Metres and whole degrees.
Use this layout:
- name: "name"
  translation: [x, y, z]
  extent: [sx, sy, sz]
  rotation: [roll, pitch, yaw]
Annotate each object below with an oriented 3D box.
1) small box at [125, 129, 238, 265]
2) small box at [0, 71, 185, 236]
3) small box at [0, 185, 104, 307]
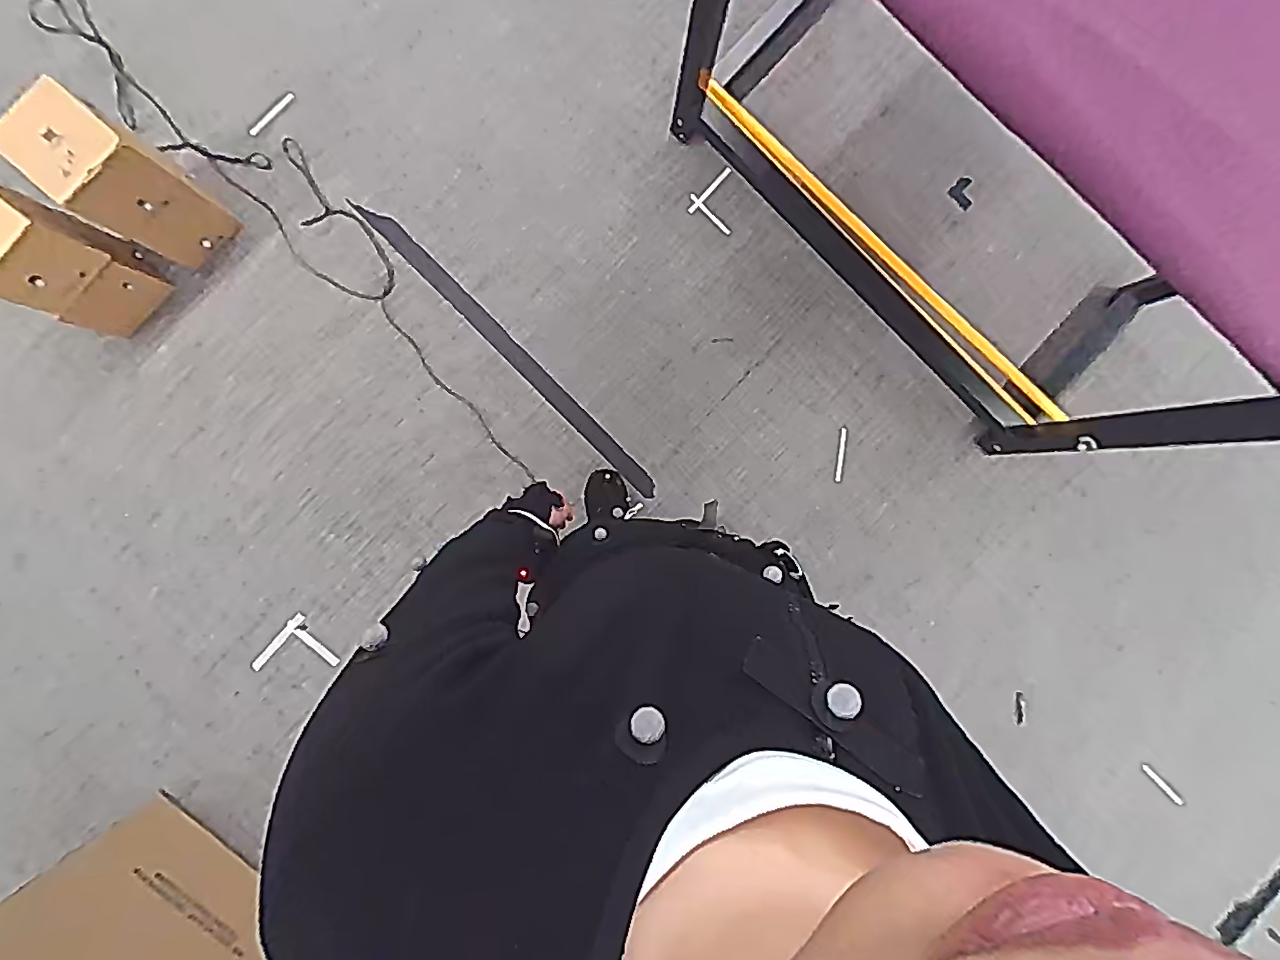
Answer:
- name: "small box"
  translation: [-1.070, -0.618, 1.208]
  extent: [0.179, 0.176, 0.168]
  rotation: [44, 89, -5]
- name: "small box"
  translation: [-1.058, -0.614, 1.044]
  extent: [0.179, 0.176, 0.168]
  rotation: [42, 89, -4]
- name: "small box"
  translation: [-1.217, -0.457, 1.041]
  extent: [0.179, 0.176, 0.168]
  rotation: [39, 89, -3]
